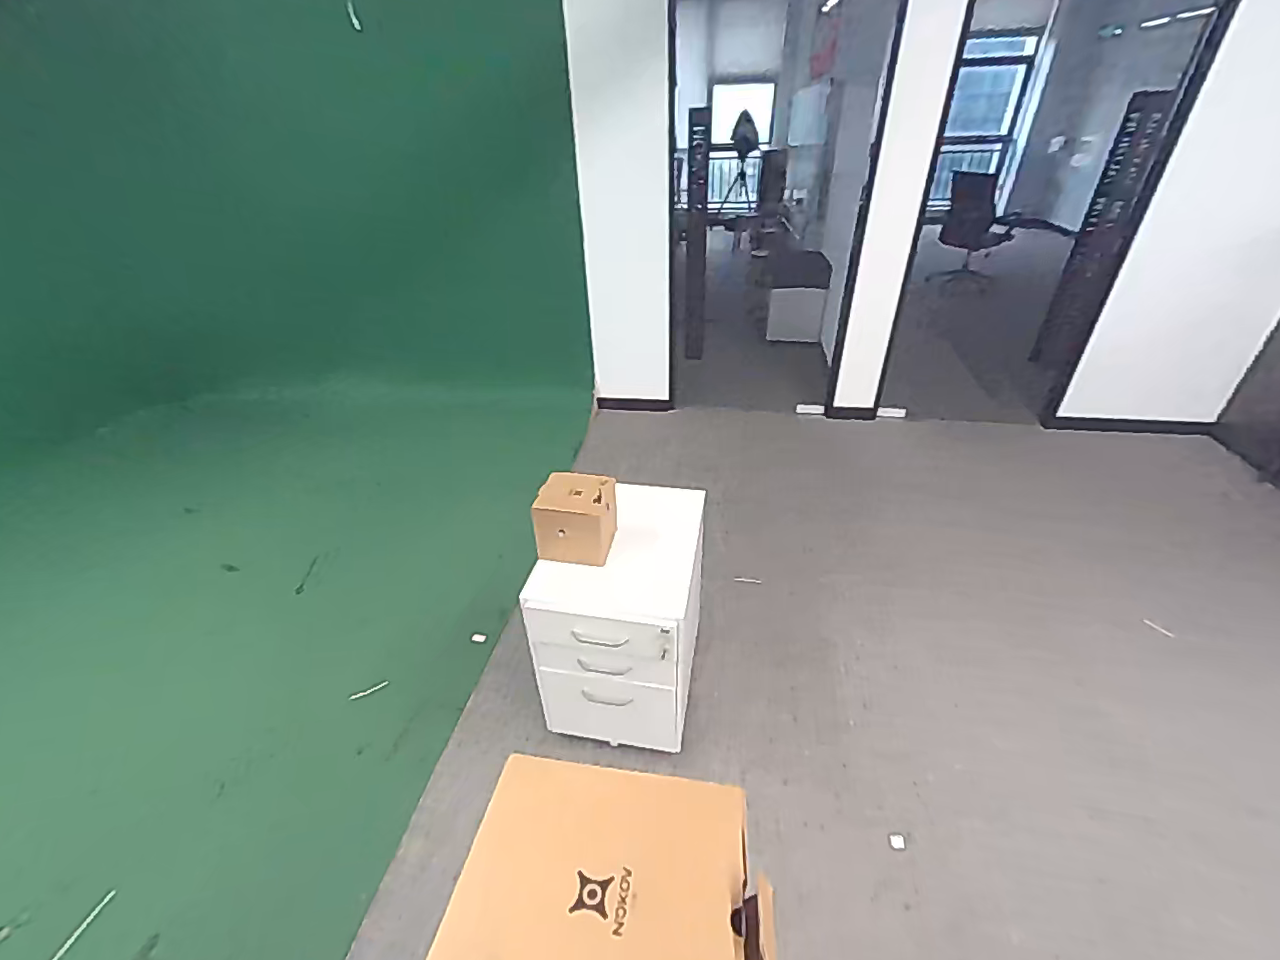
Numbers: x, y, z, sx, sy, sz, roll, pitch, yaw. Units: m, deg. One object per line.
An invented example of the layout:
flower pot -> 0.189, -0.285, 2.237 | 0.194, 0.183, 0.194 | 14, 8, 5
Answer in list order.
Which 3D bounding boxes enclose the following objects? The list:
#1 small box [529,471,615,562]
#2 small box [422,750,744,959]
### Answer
small box -> -0.167, 0.094, 1.390 | 0.179, 0.176, 0.168 | 5, 35, 9
small box -> -0.025, 0.317, 0.360 | 0.179, 0.176, 0.168 | 5, 27, 7
